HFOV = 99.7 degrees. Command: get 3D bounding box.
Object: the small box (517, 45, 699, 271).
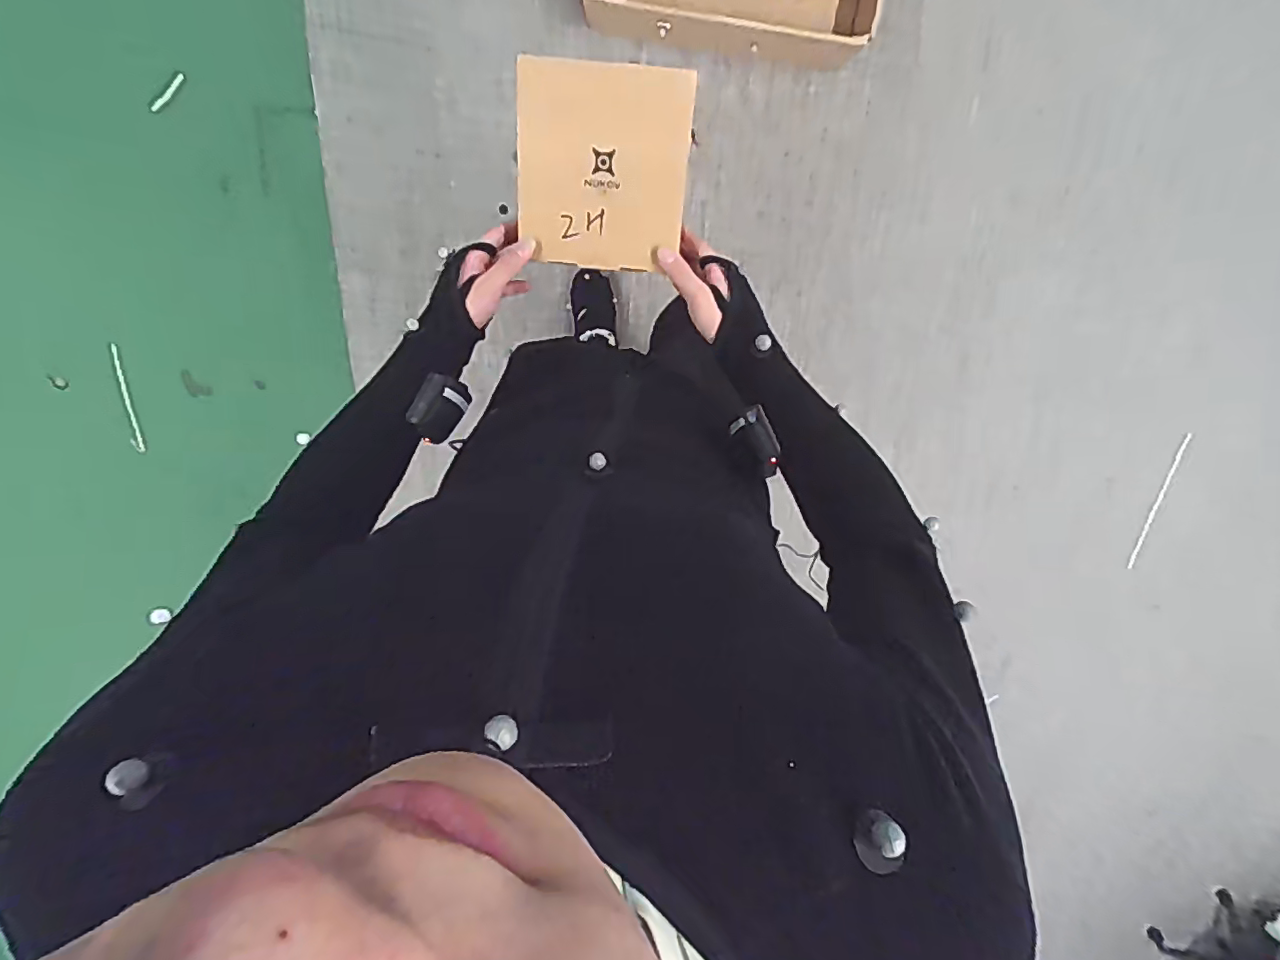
[{"bbox_3d":[-0.033,-0.333,0.589,0.168,0.176,0.179,6,115,0],"label":"small box"}]
